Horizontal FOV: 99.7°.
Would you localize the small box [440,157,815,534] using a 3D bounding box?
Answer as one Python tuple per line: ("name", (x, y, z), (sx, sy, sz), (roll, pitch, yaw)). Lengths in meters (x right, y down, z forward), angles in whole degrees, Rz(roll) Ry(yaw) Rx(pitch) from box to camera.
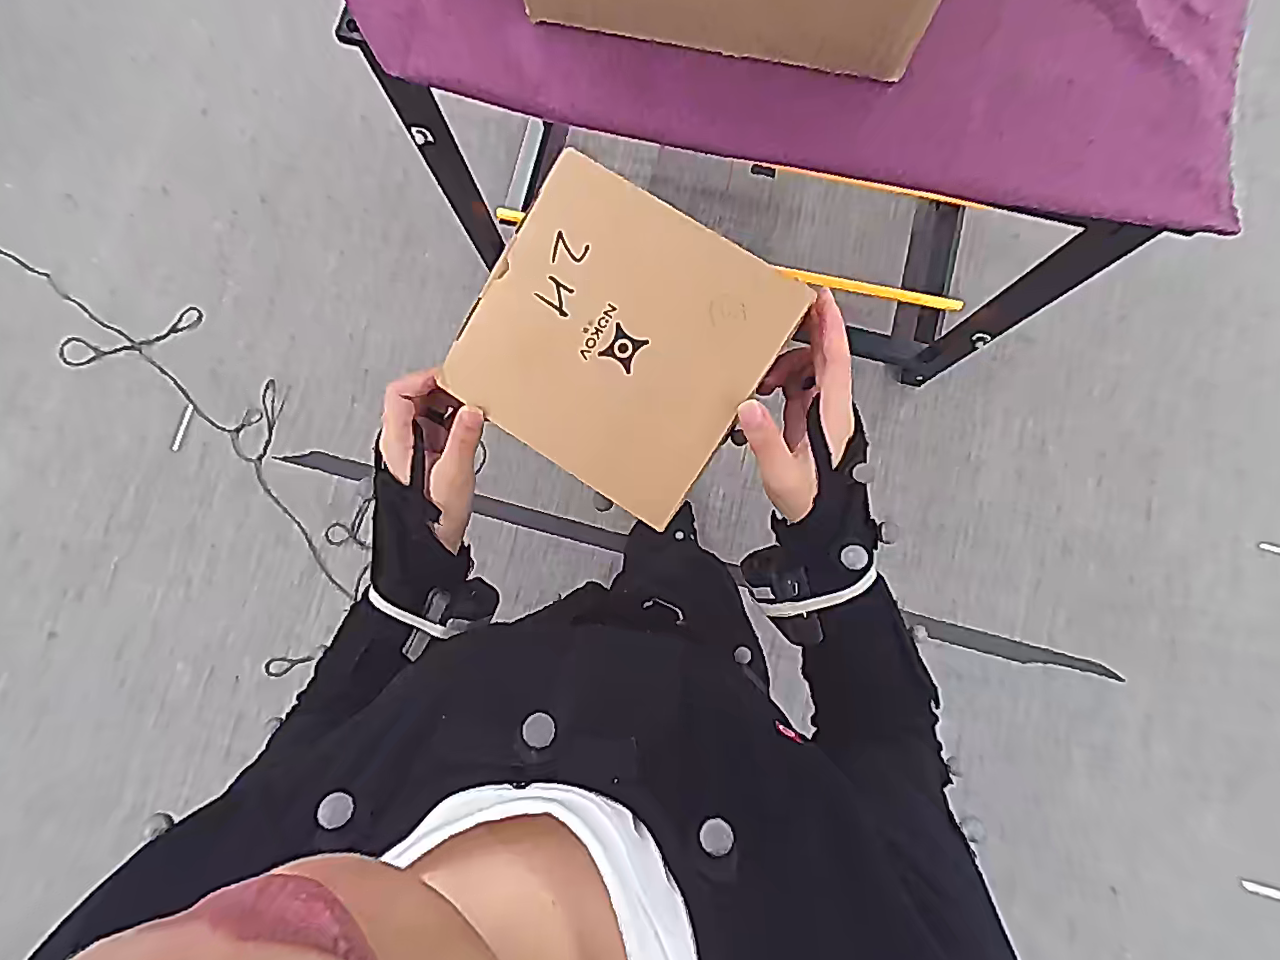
("small box", (-0.003, -0.085, 0.405), (0.179, 0.176, 0.168), (34, 96, 5))
